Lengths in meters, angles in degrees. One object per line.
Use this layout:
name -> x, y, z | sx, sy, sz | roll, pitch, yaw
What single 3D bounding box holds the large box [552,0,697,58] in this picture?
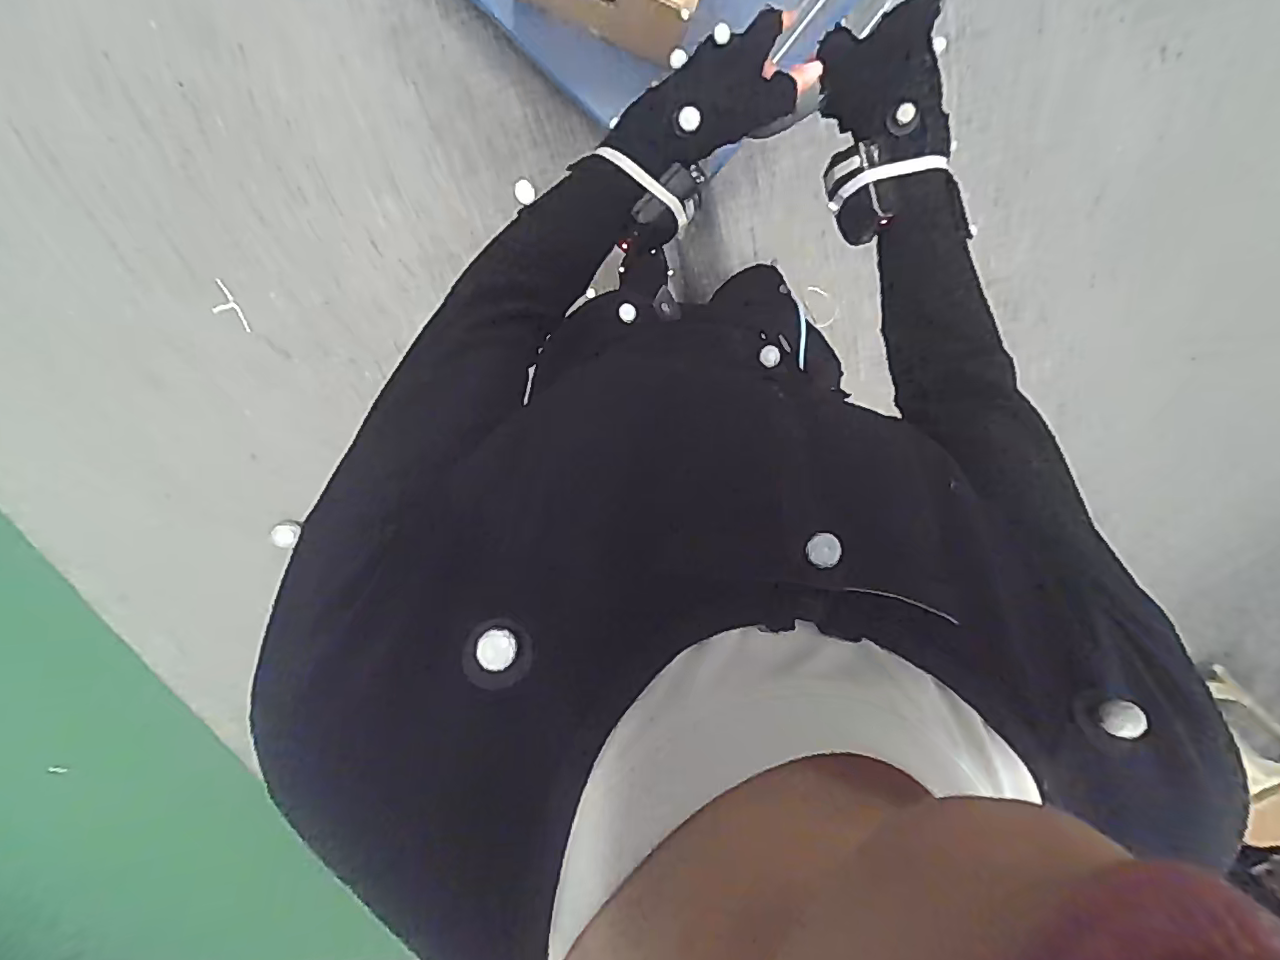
large box -> -0.006, -0.911, 0.746 | 0.320, 0.320, 0.408 | 19, 115, -10
